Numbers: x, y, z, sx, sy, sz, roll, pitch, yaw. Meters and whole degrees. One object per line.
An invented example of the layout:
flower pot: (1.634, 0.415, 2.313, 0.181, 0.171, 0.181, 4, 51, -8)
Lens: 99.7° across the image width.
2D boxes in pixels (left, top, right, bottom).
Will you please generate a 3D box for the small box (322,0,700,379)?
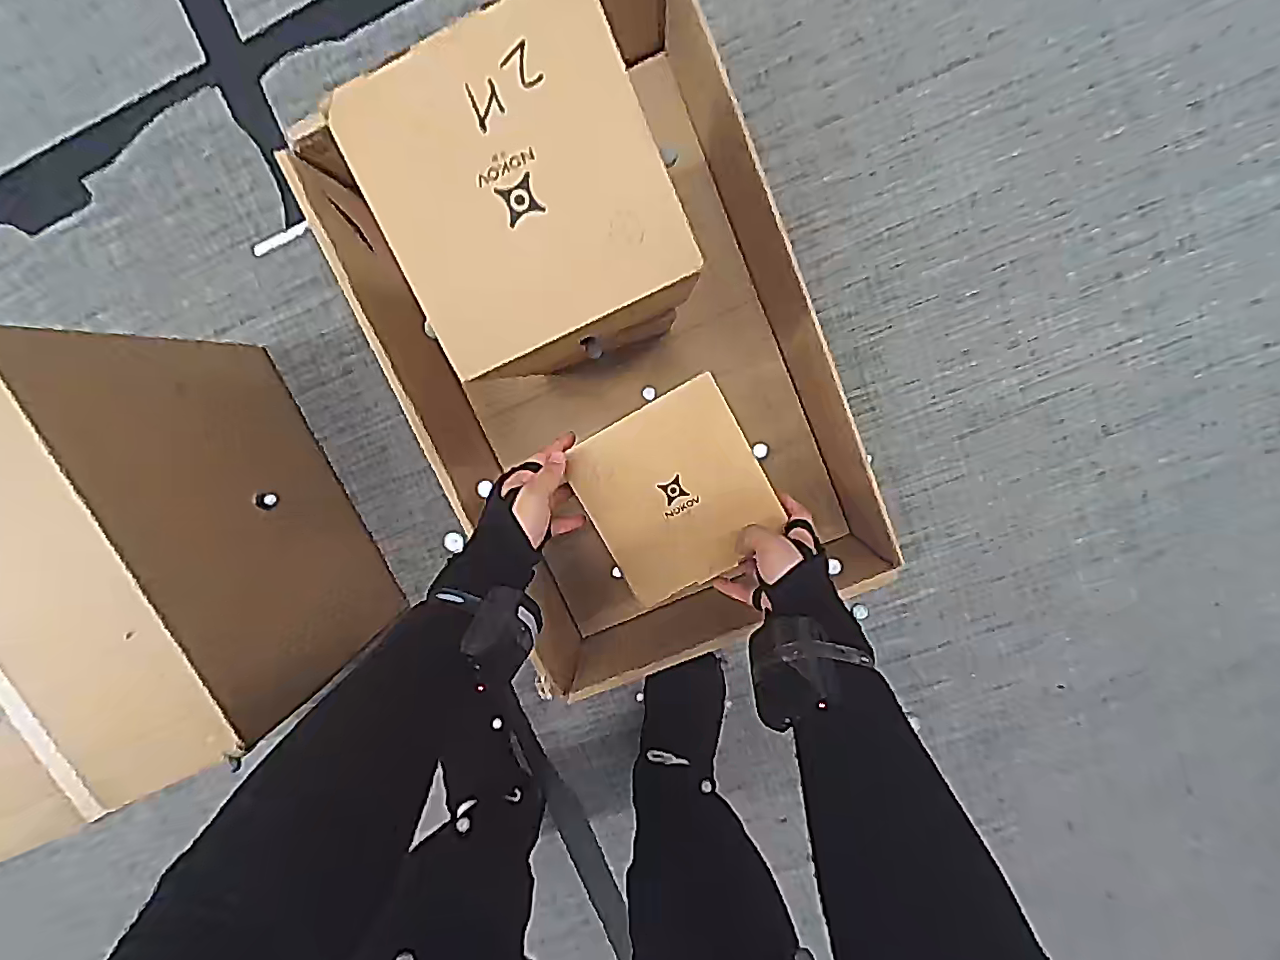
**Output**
small box: (-0.069, -0.187, 0.386, 0.168, 0.176, 0.179, -24, 100, 5)

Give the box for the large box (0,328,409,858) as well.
large box: (-0.549, 0.090, 0.607, 0.320, 0.320, 0.408, -25, 99, 8)
